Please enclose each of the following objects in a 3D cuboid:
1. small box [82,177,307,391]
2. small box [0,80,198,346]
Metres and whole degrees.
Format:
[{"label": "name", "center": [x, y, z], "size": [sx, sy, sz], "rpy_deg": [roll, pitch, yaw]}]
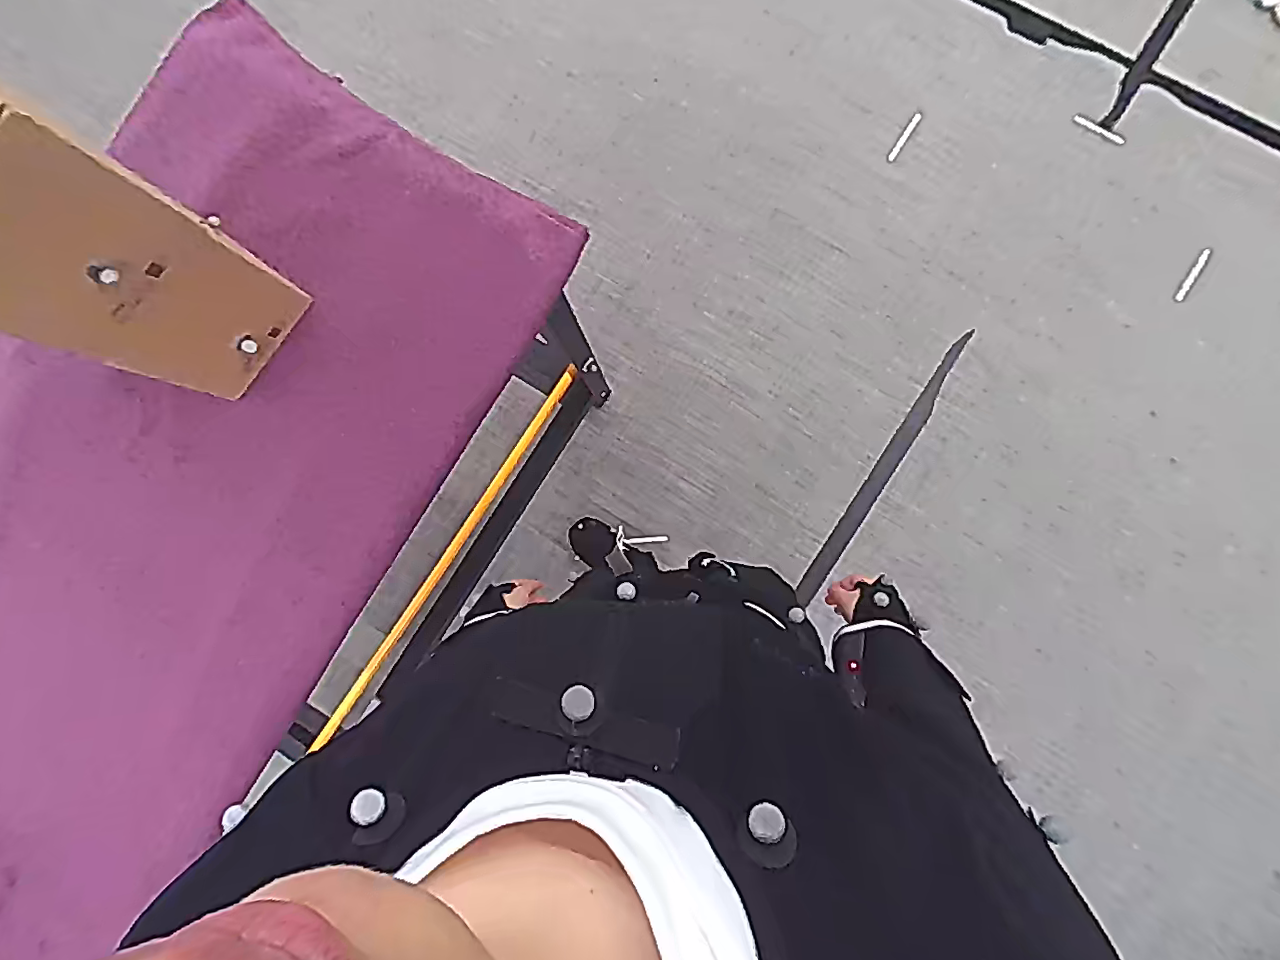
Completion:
[{"label": "small box", "center": [-0.540, -0.224, 0.617], "size": [0.179, 0.176, 0.168], "rpy_deg": [36, 88, 4]}, {"label": "small box", "center": [-0.545, -0.239, 0.452], "size": [0.179, 0.176, 0.168], "rpy_deg": [36, 89, 4]}]
